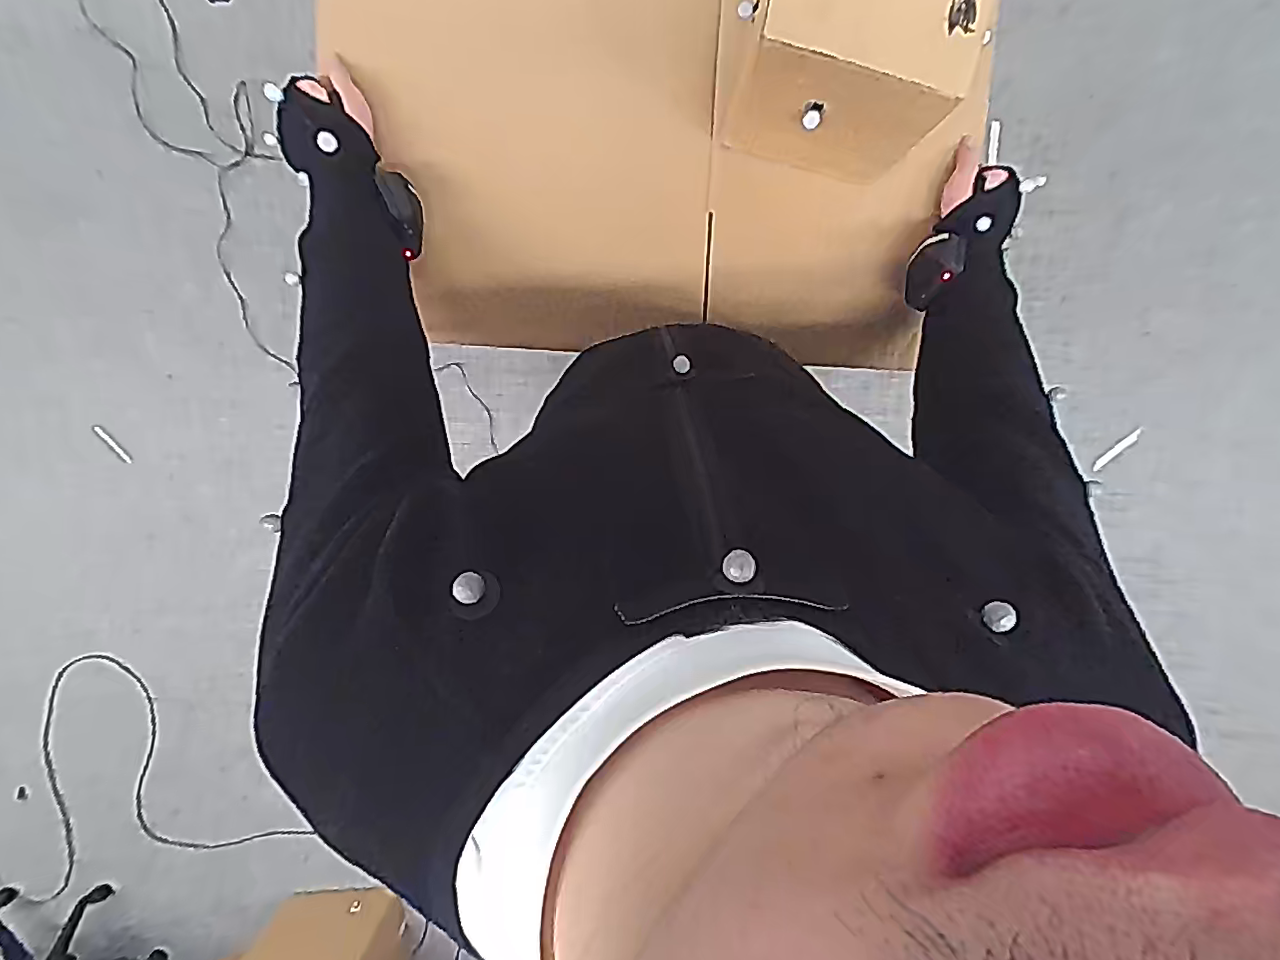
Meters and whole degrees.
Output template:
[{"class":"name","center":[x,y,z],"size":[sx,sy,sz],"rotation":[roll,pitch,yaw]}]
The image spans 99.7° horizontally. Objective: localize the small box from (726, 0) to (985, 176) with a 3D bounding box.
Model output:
[{"class":"small box","center":[0.191,-0.417,0.505],"size":[0.179,0.176,0.168],"rotation":[13,96,-3]}]
